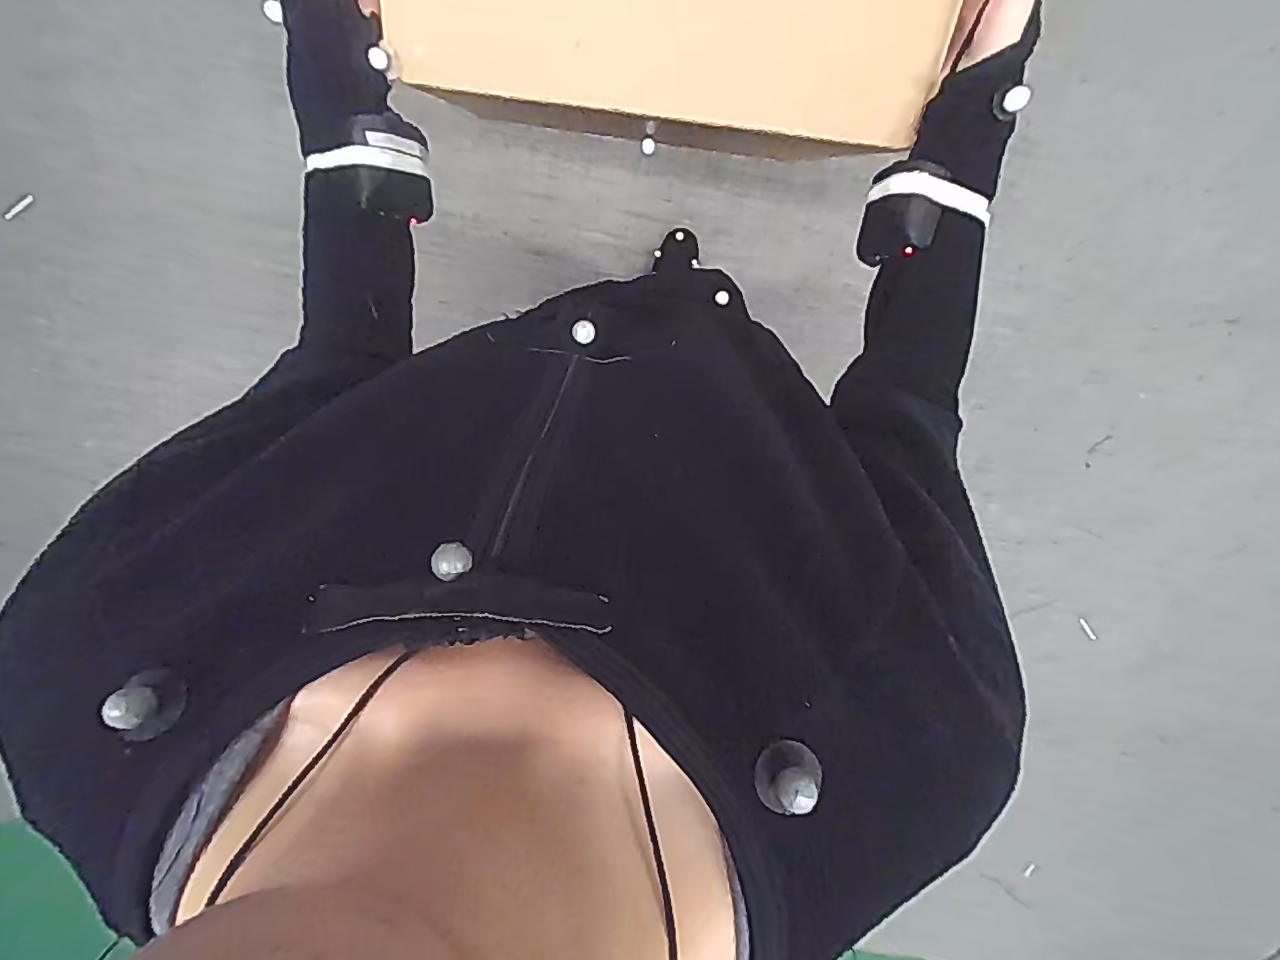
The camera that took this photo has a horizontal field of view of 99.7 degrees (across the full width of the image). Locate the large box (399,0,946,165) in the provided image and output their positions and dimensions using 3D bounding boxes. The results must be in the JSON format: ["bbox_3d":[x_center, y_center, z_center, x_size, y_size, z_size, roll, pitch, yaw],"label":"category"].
[{"bbox_3d":[0.029,-0.480,0.487,0.408,0.320,0.320,4,118,-5],"label":"large box"}]
